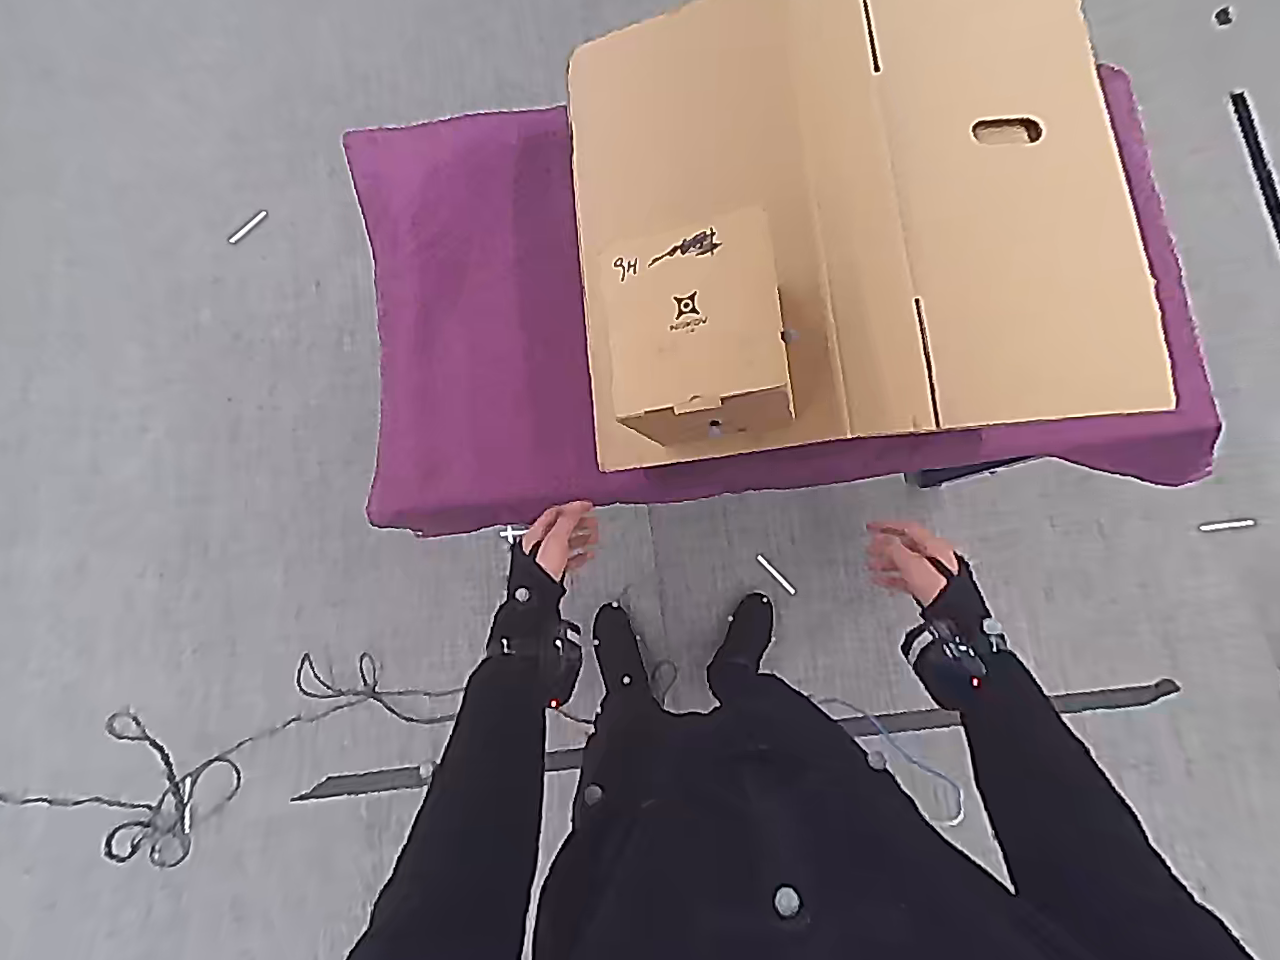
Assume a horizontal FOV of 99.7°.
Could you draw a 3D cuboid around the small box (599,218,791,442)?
[{"bbox_3d":[0.068,-0.142,0.588,0.168,0.176,0.179,-8,83,17],"label":"small box"}]
